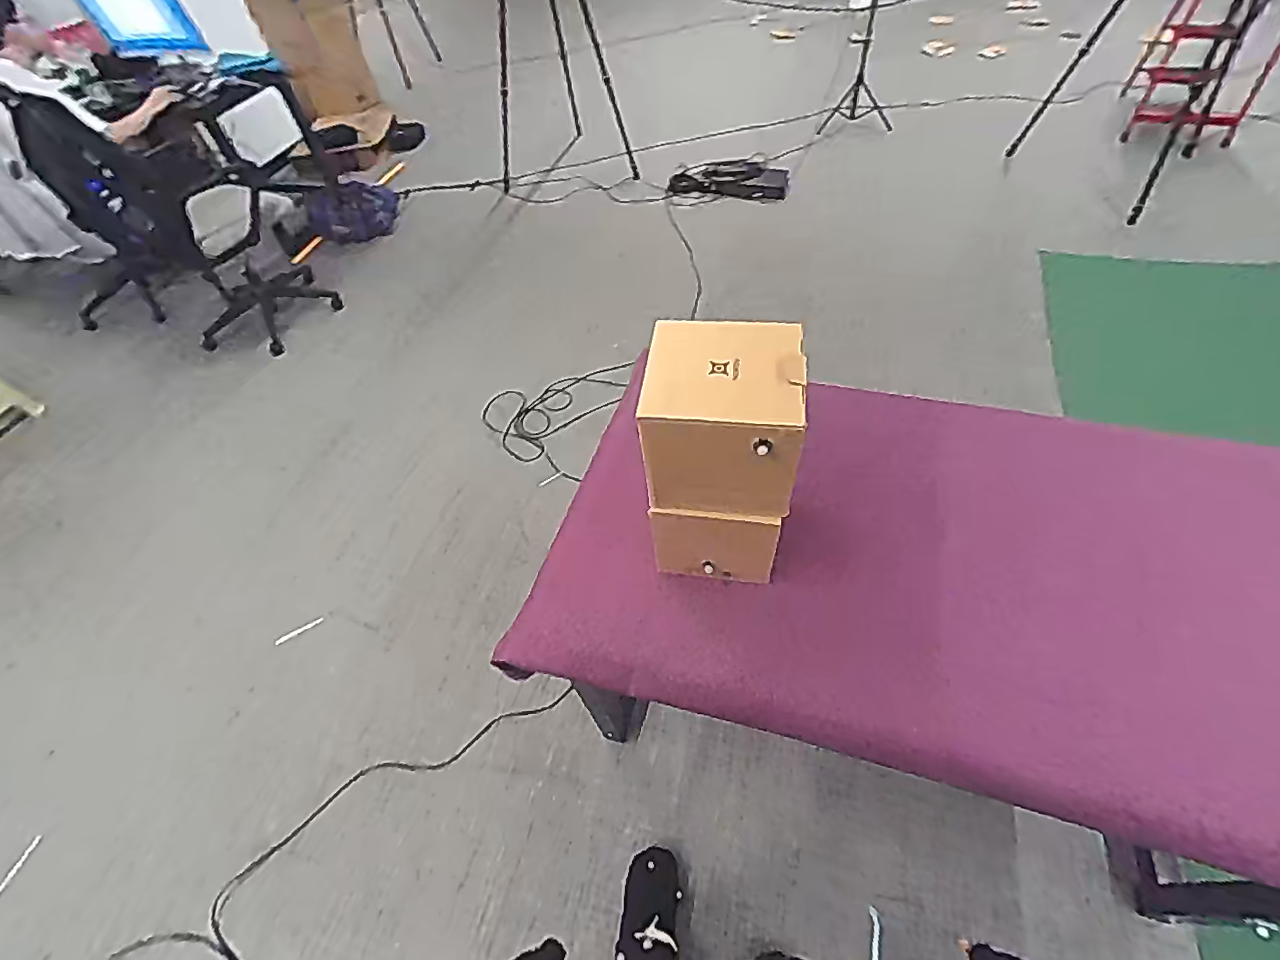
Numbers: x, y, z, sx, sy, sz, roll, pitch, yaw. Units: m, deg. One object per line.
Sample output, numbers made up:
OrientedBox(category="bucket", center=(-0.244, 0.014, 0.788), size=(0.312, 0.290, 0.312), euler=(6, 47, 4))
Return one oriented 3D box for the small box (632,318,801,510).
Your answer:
OrientedBox(category="small box", center=(0.096, -0.077, 0.660), size=(0.179, 0.176, 0.168), euler=(4, 54, 10))
